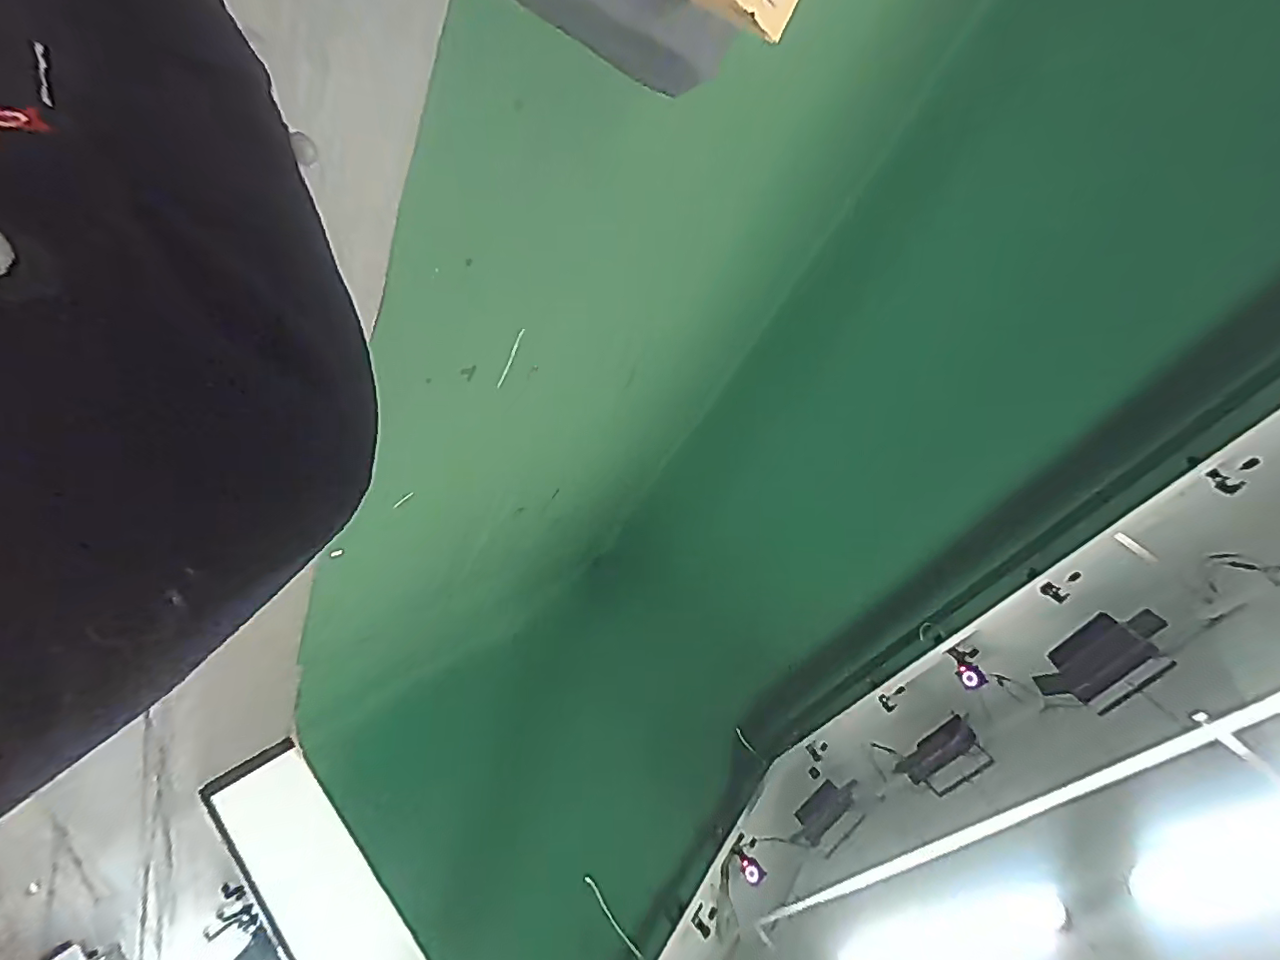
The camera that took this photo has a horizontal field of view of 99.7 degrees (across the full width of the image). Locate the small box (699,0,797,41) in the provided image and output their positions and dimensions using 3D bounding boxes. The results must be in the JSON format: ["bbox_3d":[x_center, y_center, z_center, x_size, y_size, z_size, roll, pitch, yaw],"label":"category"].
[{"bbox_3d":[0.128,-0.724,0.690,0.168,0.176,0.179,-22,150,-52],"label":"small box"}]
